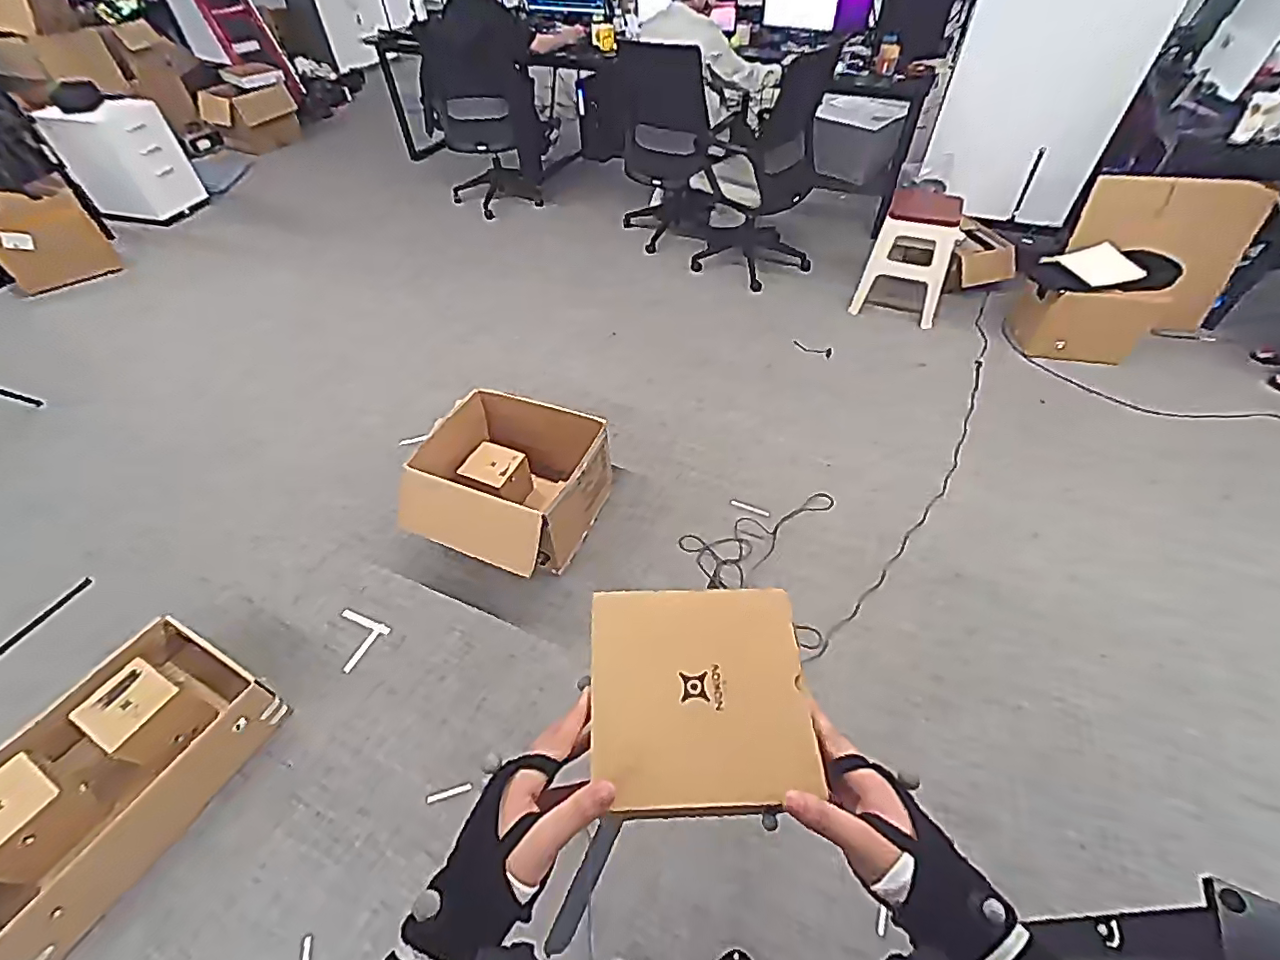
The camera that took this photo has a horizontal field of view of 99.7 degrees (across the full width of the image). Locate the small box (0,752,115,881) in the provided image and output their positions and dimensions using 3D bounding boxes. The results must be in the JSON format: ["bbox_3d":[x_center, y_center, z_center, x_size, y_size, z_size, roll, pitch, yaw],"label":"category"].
[{"bbox_3d":[-1.355,0.753,1.205,0.168,0.176,0.179,24,52,18],"label":"small box"}]

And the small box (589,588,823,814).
[{"bbox_3d":[0.045,0.210,0.505,0.179,0.176,0.168,0,57,-4],"label":"small box"}]
